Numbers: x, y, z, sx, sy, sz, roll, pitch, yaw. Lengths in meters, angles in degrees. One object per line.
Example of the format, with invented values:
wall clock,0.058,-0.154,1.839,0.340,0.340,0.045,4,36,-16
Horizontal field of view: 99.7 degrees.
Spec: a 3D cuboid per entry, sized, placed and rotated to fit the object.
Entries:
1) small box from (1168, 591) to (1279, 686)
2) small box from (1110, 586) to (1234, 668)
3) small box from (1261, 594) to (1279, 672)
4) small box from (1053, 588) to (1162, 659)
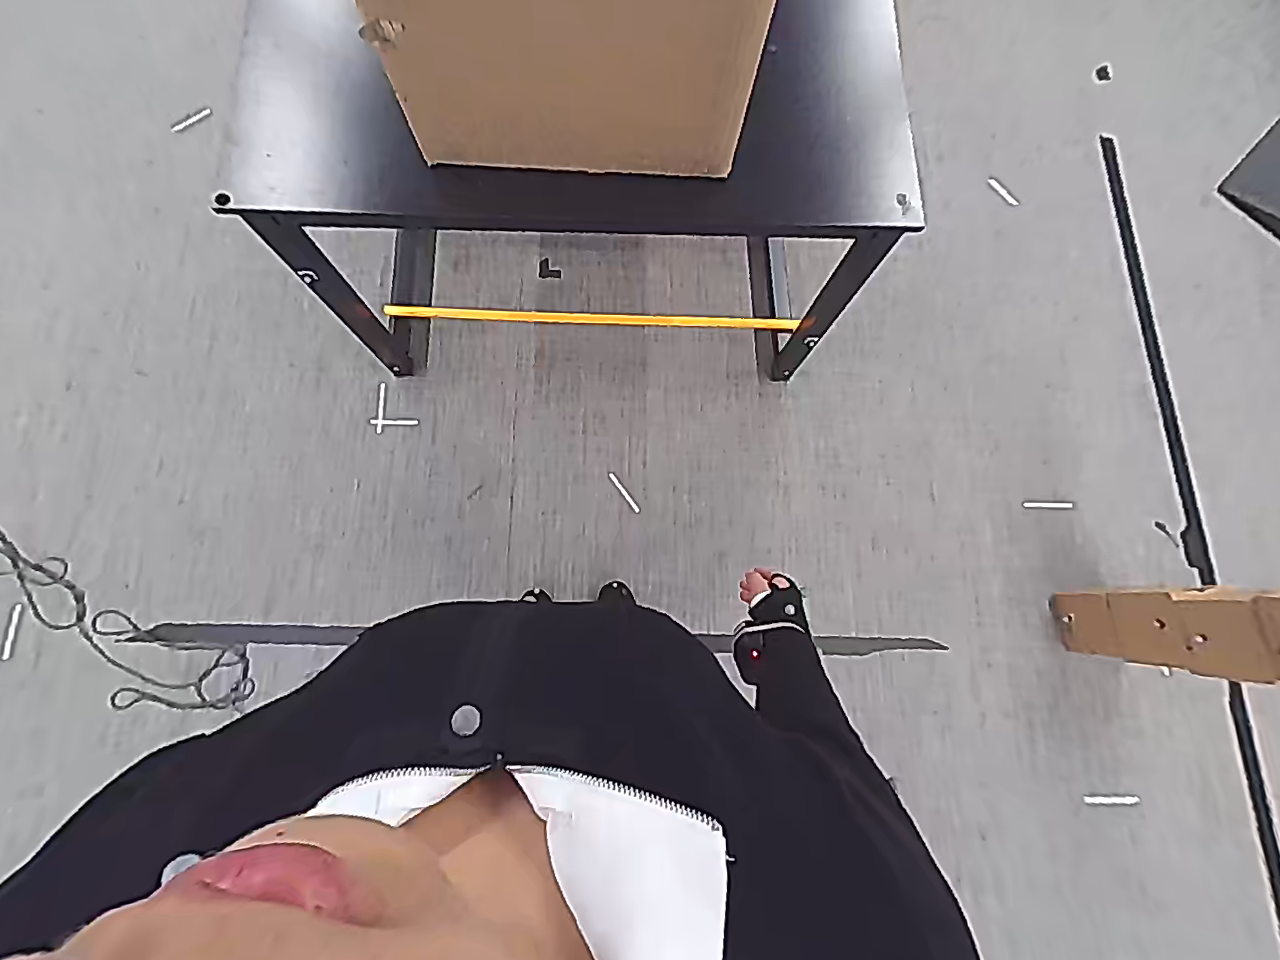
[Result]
small box,1.298,0.326,1.143,0.179,0.176,0.168,-8,77,-4
small box,1.294,0.354,1.306,0.168,0.176,0.179,-4,78,-3
small box,1.312,0.286,0.985,0.179,0.176,0.168,-7,77,-3
small box,1.285,0.384,1.467,0.179,0.176,0.168,-6,77,-3
